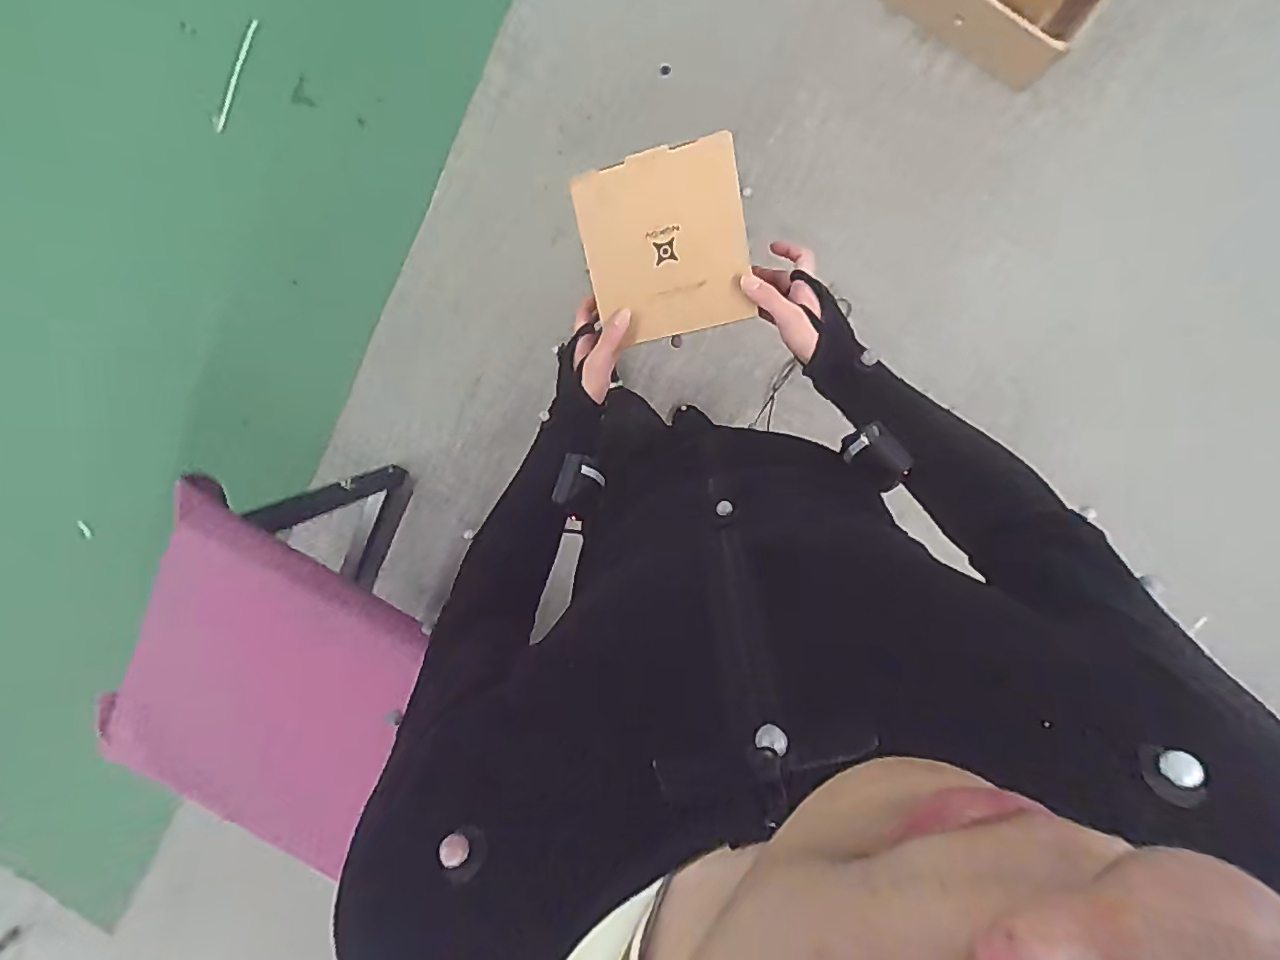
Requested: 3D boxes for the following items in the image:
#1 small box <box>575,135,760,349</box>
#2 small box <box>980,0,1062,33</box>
[{"bbox_3d":[0.040,-0.254,0.619,0.168,0.176,0.179,-8,105,12],"label":"small box"},{"bbox_3d":[0.880,-1.138,1.165,0.168,0.176,0.179,35,103,-1],"label":"small box"}]
